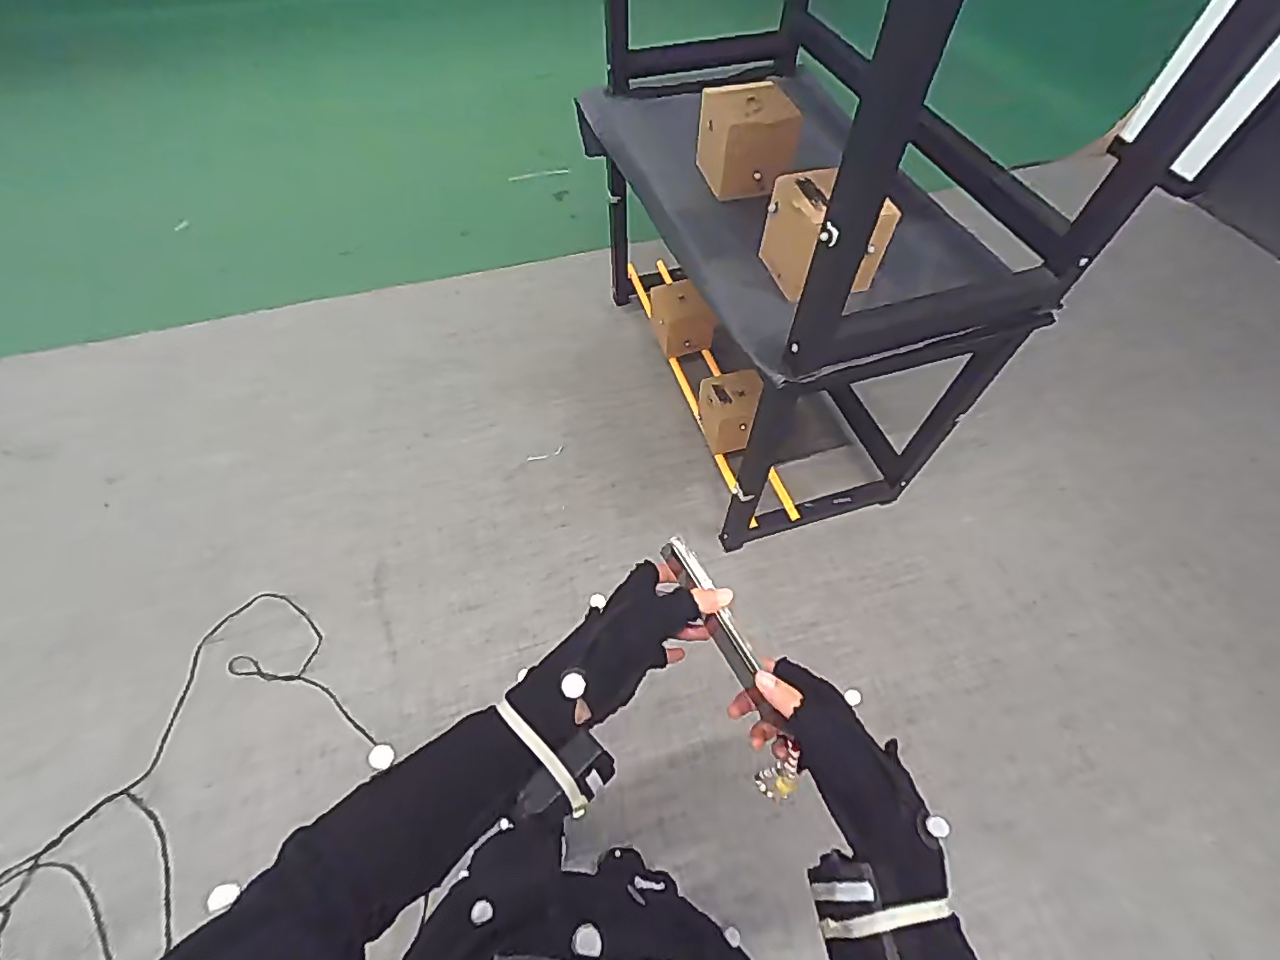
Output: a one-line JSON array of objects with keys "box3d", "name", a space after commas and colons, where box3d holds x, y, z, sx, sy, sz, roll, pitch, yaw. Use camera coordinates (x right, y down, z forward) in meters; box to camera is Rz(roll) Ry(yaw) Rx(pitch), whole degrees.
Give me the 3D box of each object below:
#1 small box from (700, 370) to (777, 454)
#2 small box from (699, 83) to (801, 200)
[{"box3d": [0.284, -0.198, 1.613, 0.179, 0.176, 0.168, -12, 58, -7], "name": "small box"}, {"box3d": [0.241, -0.776, 1.243, 0.168, 0.176, 0.179, -12, 58, -8], "name": "small box"}]
